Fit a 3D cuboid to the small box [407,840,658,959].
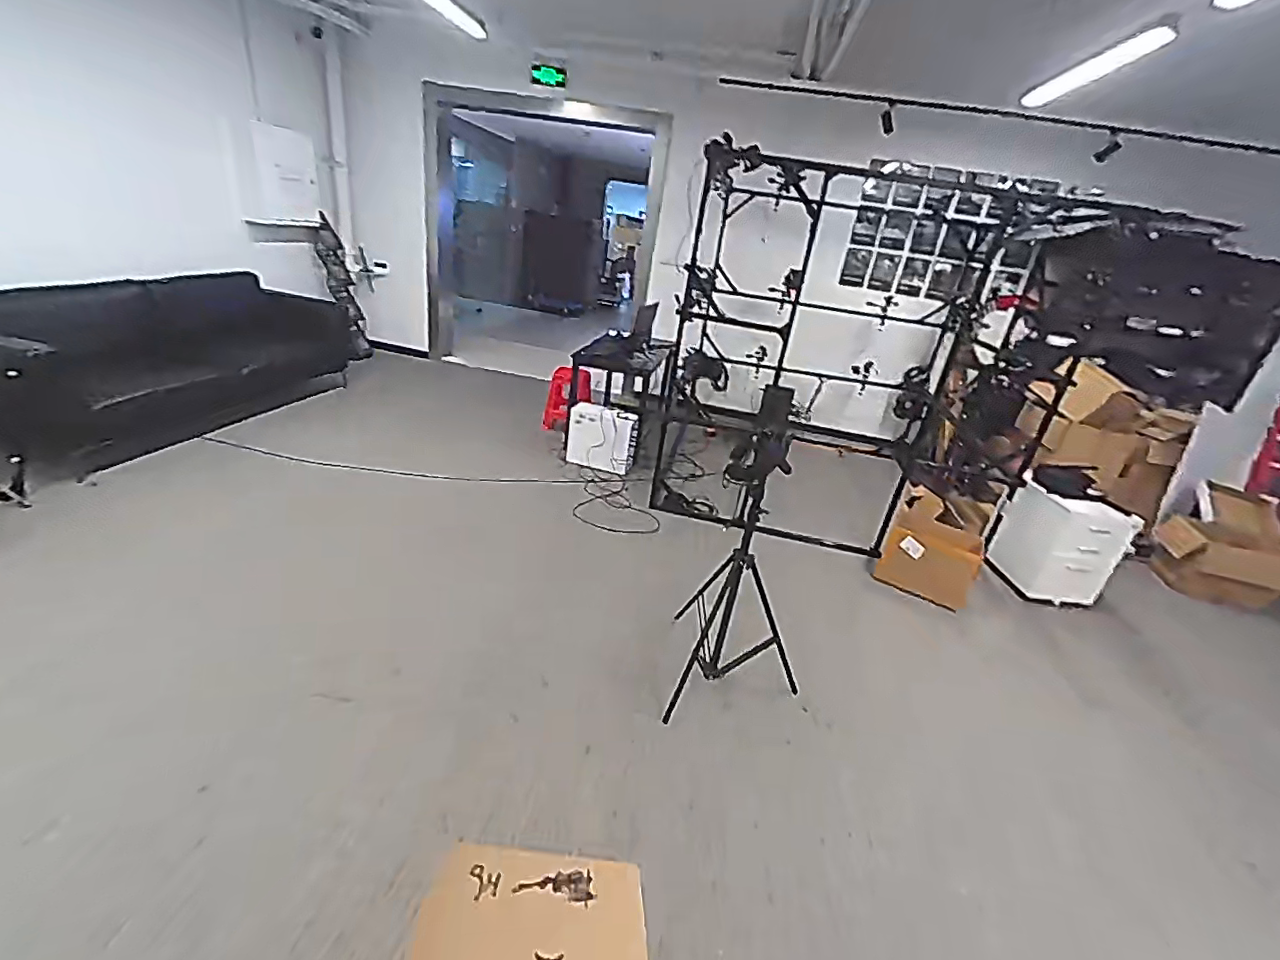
[{"bbox_3d":[-0.093,0.418,0.410,0.168,0.176,0.179,20,26,-17],"label":"small box"}]
